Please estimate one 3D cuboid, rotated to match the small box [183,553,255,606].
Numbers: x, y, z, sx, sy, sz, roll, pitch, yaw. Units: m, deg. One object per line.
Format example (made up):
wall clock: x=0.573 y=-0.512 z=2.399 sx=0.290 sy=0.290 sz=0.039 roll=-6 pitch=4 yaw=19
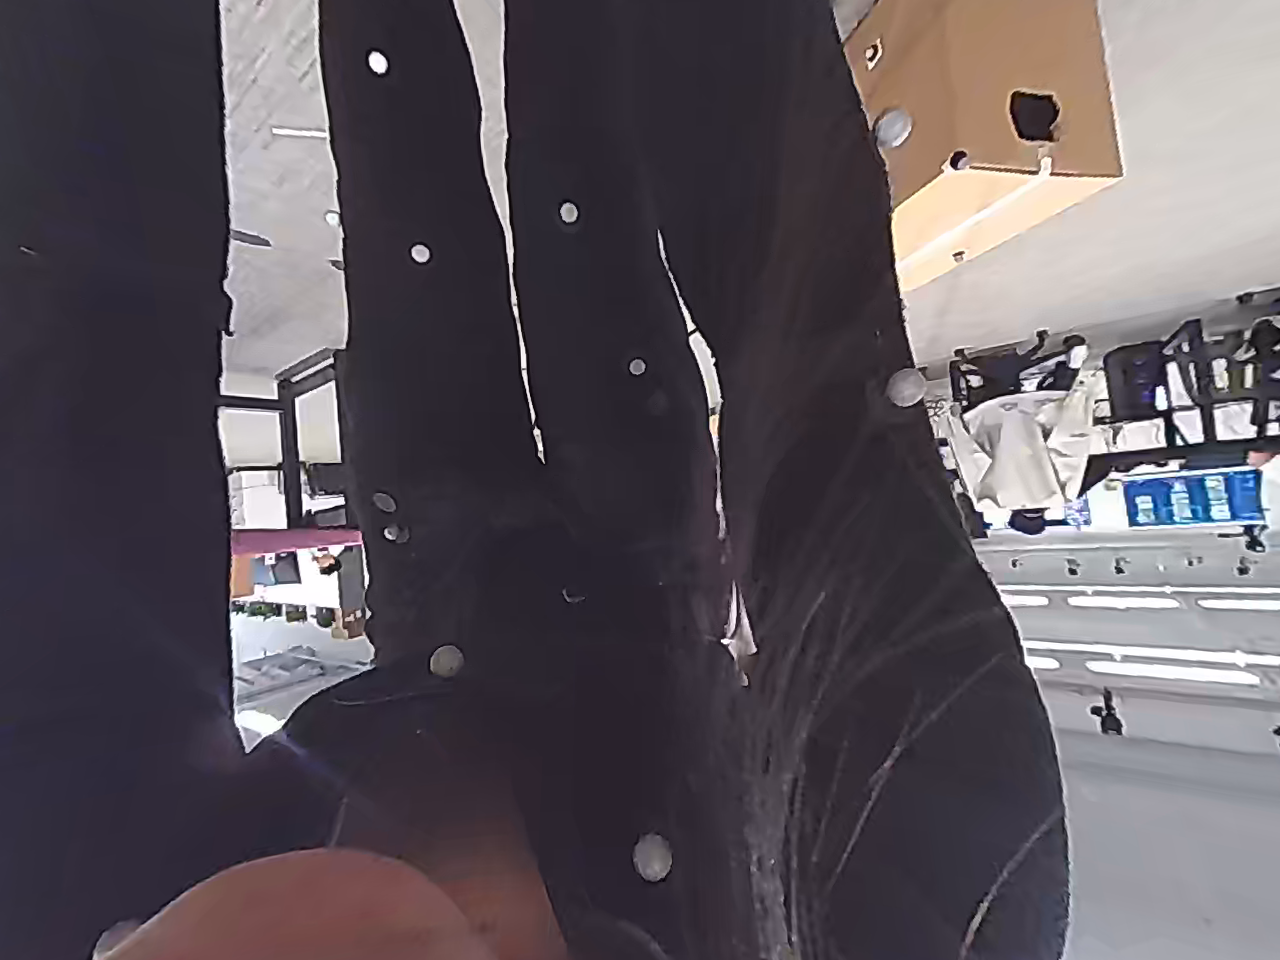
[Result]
small box: x=-1.586 y=0.370 z=2.030 sx=0.179 sy=0.176 sz=0.168 roll=-10 pitch=175 yaw=33
